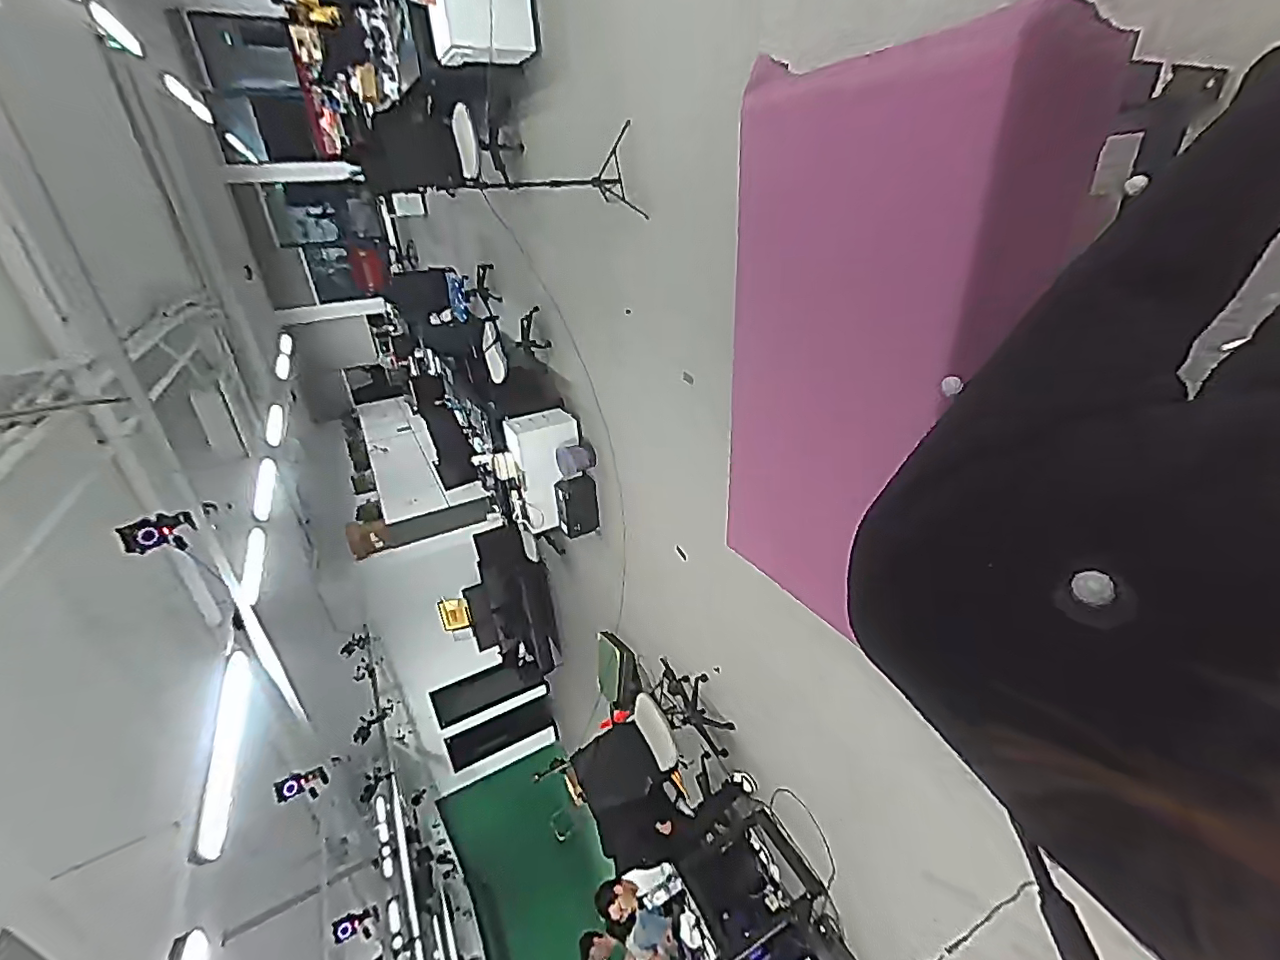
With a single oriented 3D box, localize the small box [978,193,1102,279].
[{"bbox_3d":[0.986,-0.608,1.333,0.168,0.176,0.179,41,142,51],"label":"small box"}]
